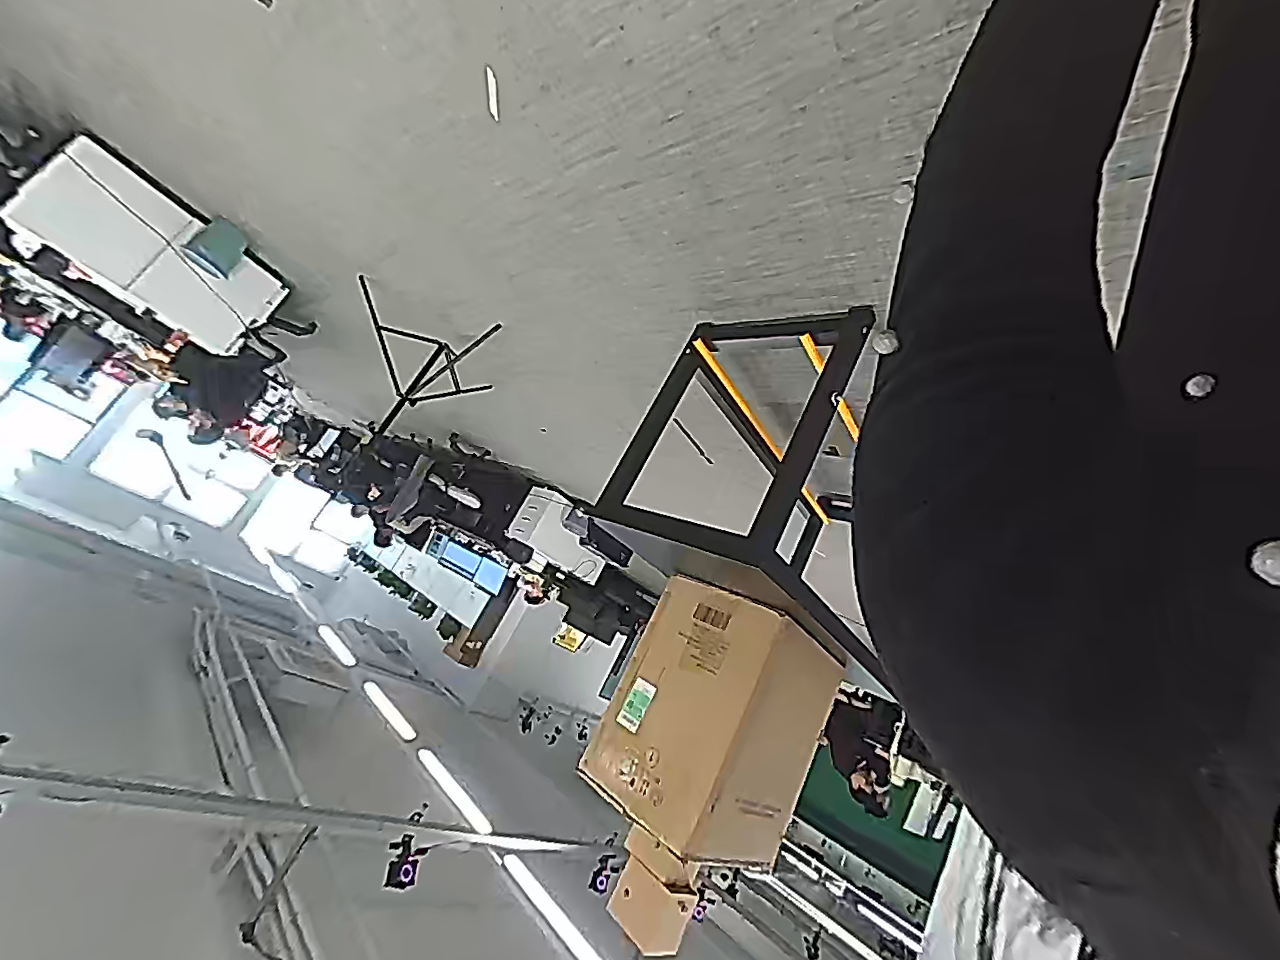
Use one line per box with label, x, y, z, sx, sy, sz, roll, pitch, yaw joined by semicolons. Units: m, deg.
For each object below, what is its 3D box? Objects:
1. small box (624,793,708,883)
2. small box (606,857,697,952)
small box;0.090;1.106;1.674;0.179;0.176;0.168;13;157;45
small box;0.038;1.251;1.609;0.179;0.176;0.168;11;157;48
